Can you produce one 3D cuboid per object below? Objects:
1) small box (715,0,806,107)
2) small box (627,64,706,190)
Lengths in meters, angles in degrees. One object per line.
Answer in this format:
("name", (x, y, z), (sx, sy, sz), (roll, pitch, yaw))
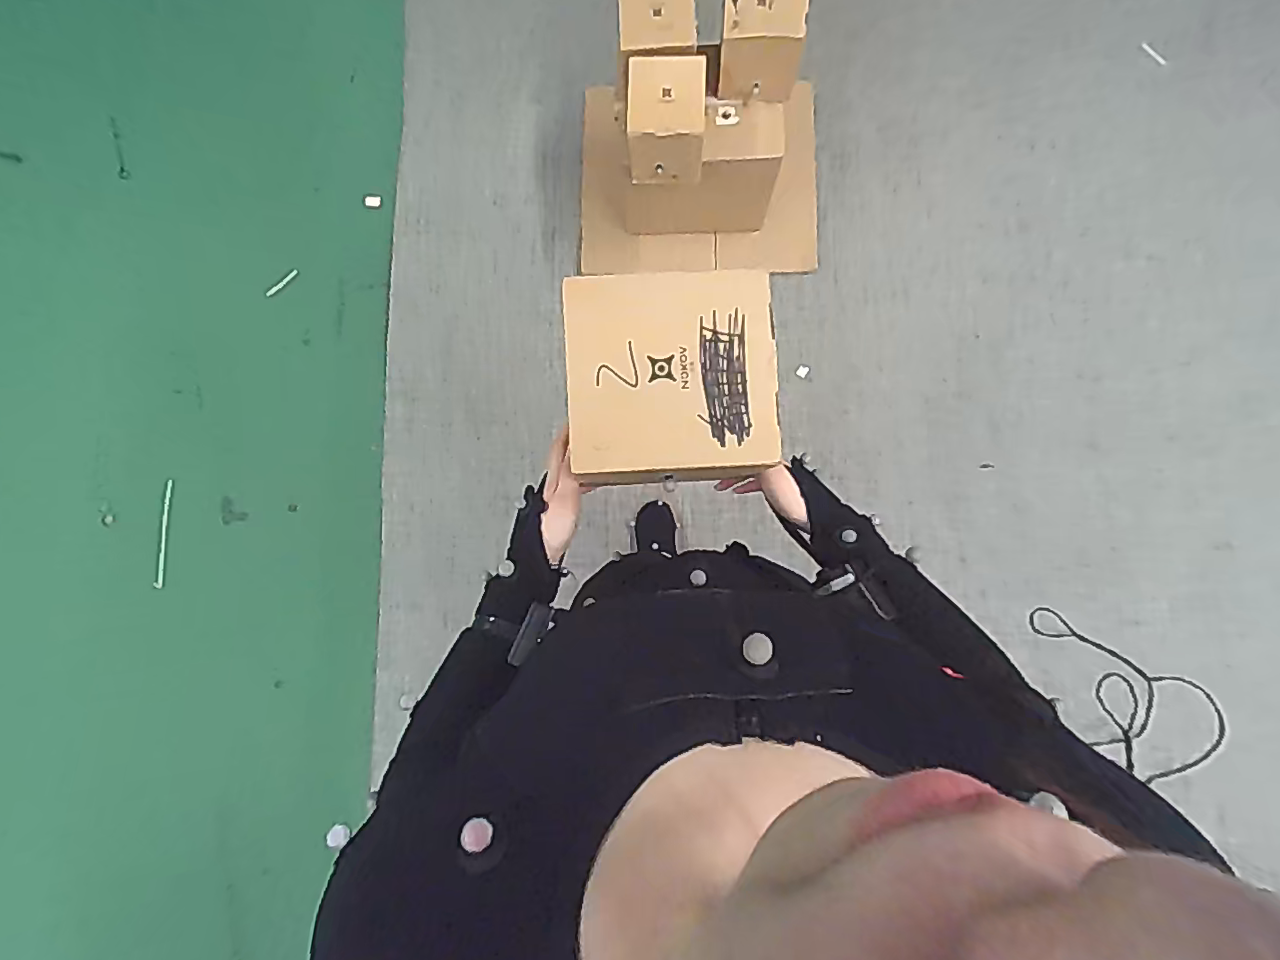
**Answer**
("small box", (0.269, -0.989, 1.232), (0.179, 0.176, 0.168), (4, 84, 4))
("small box", (0.058, -0.792, 1.223), (0.168, 0.176, 0.179), (1, 85, 2))
